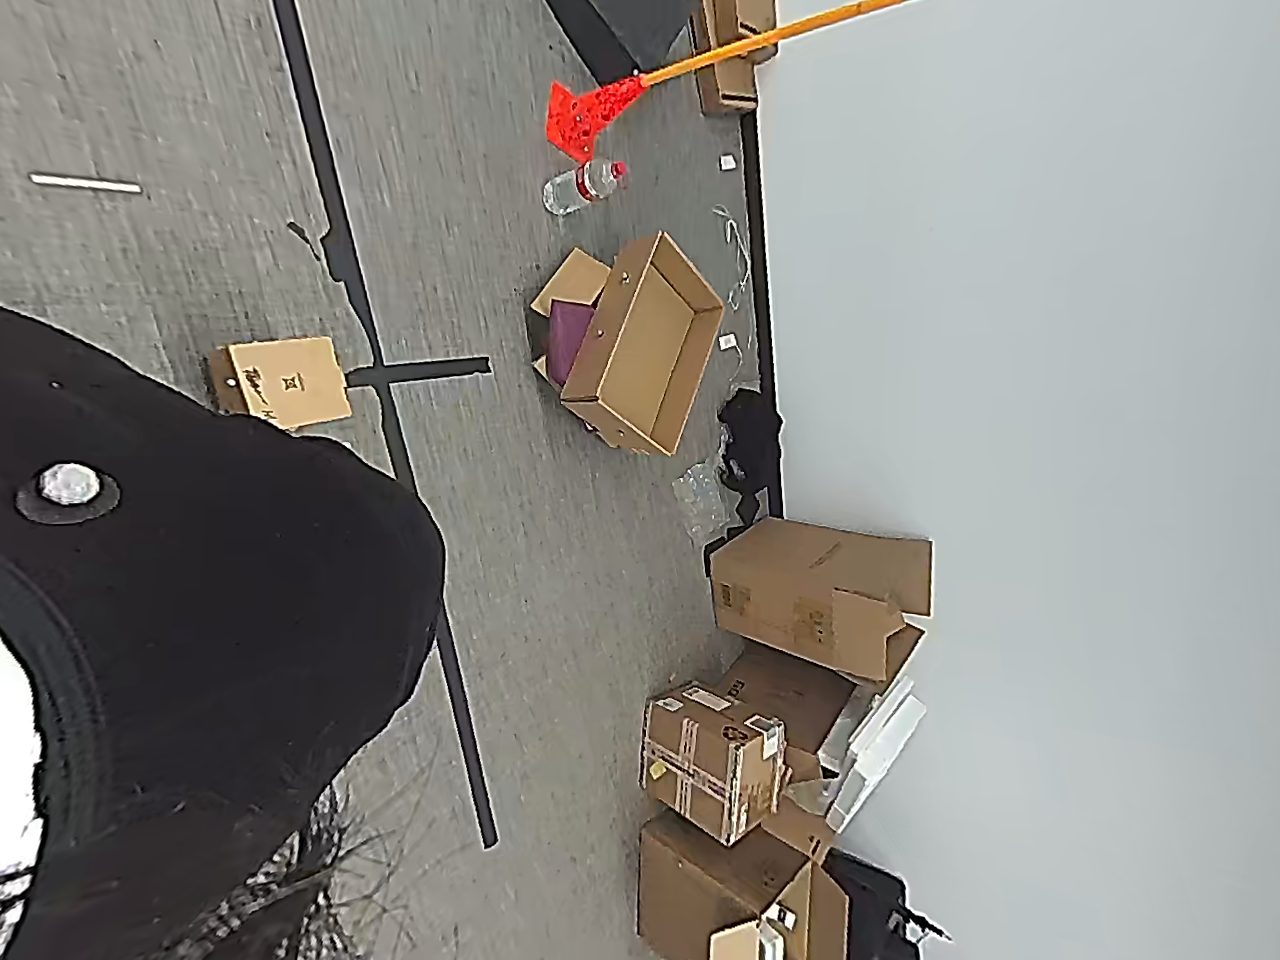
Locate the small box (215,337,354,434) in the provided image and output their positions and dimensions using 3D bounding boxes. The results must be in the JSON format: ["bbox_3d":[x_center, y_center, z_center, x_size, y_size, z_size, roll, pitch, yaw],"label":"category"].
[{"bbox_3d":[-0.720,-0.193,1.097,0.179,0.176,0.168,-23,111,-43],"label":"small box"}]

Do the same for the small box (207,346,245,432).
[{"bbox_3d":[-0.837,-0.208,1.212,0.168,0.176,0.179,-21,108,-43],"label":"small box"}]
